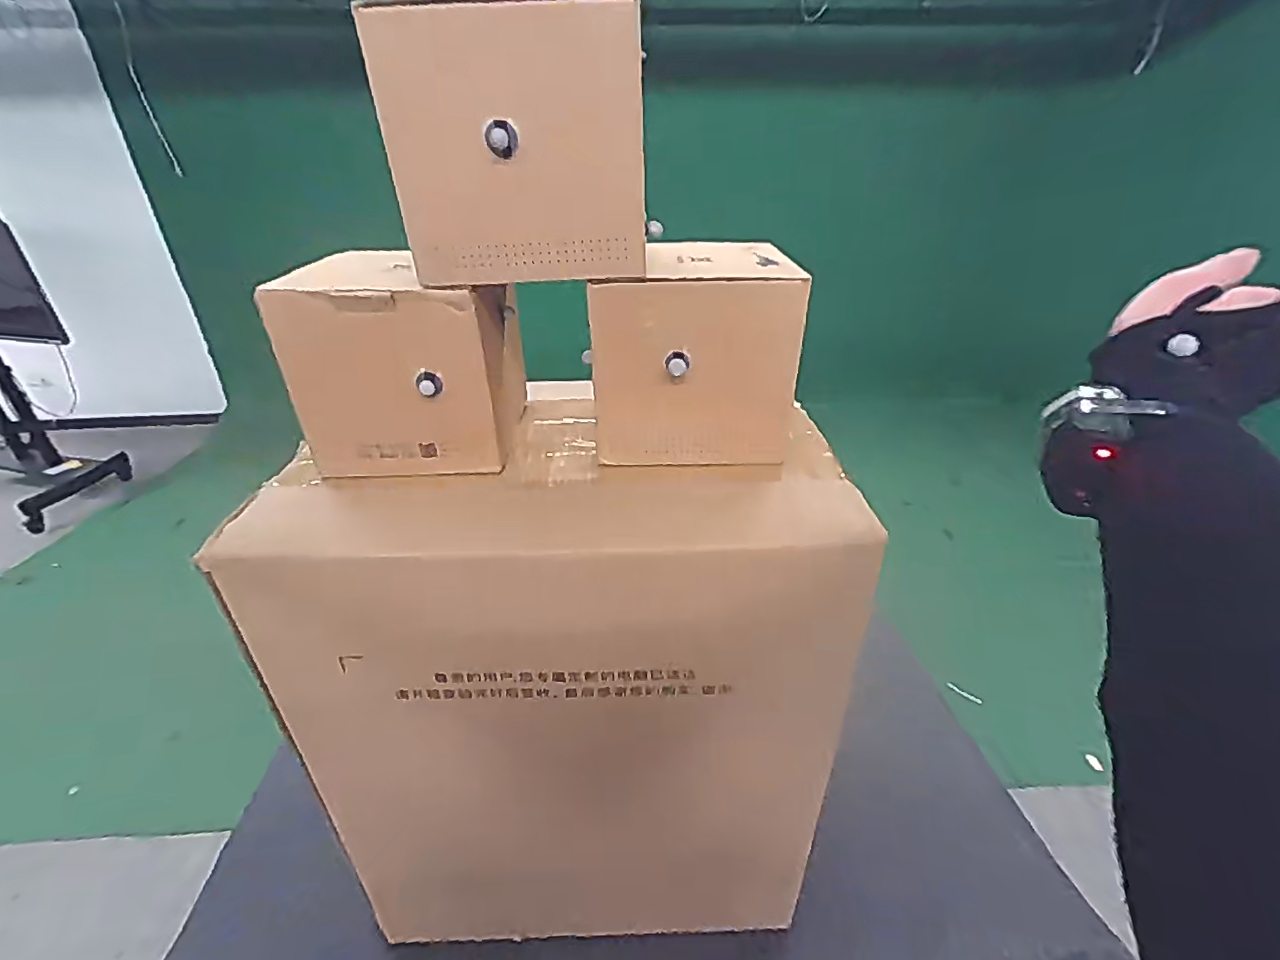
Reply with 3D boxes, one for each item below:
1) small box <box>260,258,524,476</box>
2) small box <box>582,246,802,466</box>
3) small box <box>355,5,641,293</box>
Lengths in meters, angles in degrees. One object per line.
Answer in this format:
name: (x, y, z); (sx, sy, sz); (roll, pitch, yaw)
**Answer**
small box: (-0.212, -0.113, 0.525); (0.168, 0.176, 0.179); (-1, 31, -2)
small box: (0.045, -0.123, 0.528); (0.179, 0.176, 0.168); (-2, 32, 1)
small box: (-0.088, -0.258, 0.440); (0.179, 0.176, 0.168); (-3, 32, 0)
